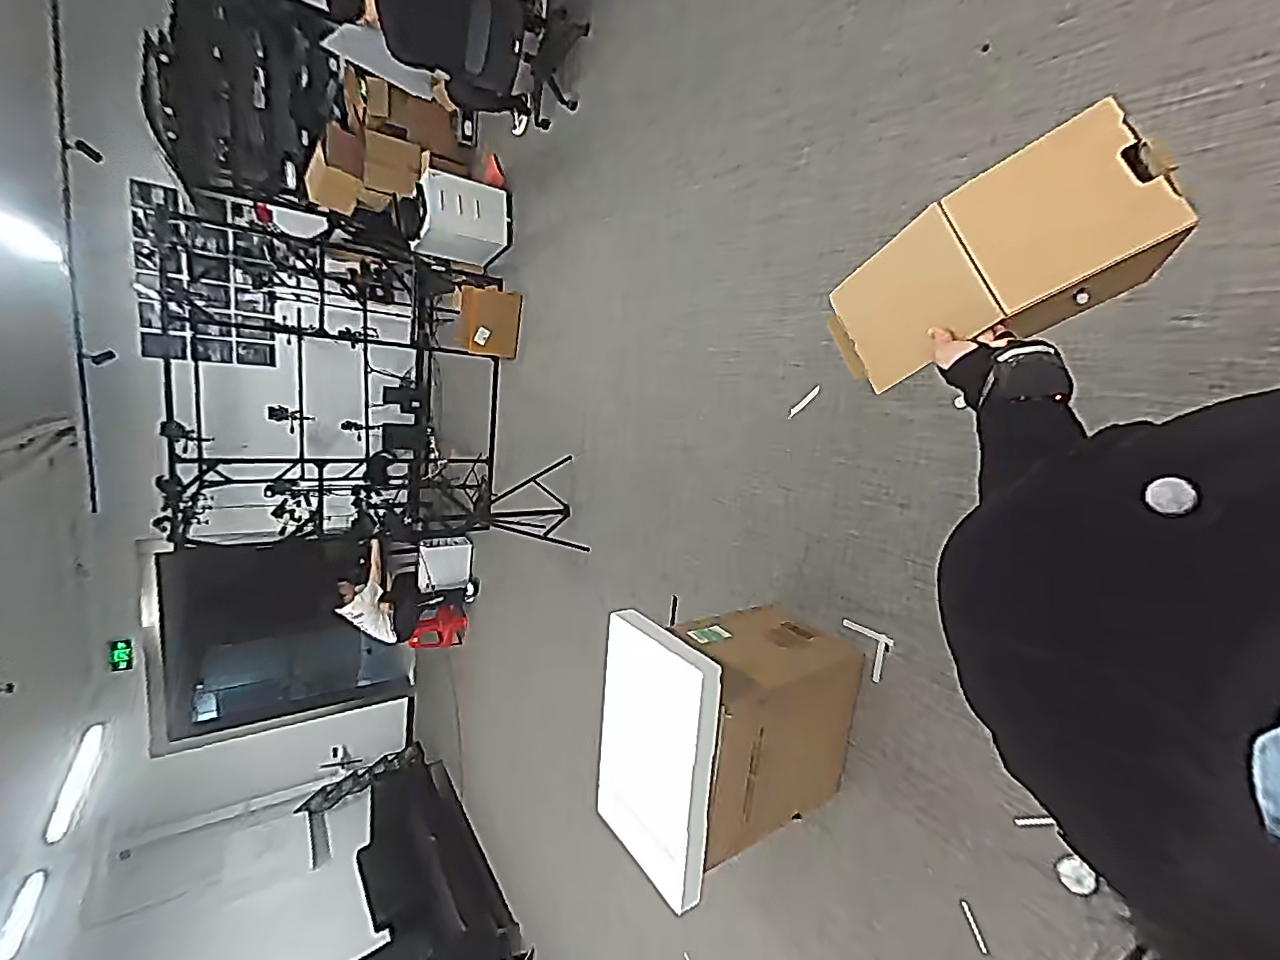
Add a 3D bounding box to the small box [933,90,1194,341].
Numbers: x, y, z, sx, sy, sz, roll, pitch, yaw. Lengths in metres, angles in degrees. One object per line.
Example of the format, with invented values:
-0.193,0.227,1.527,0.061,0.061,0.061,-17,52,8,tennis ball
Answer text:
0.476,-0.288,0.640,0.179,0.176,0.168,-27,76,27,small box
